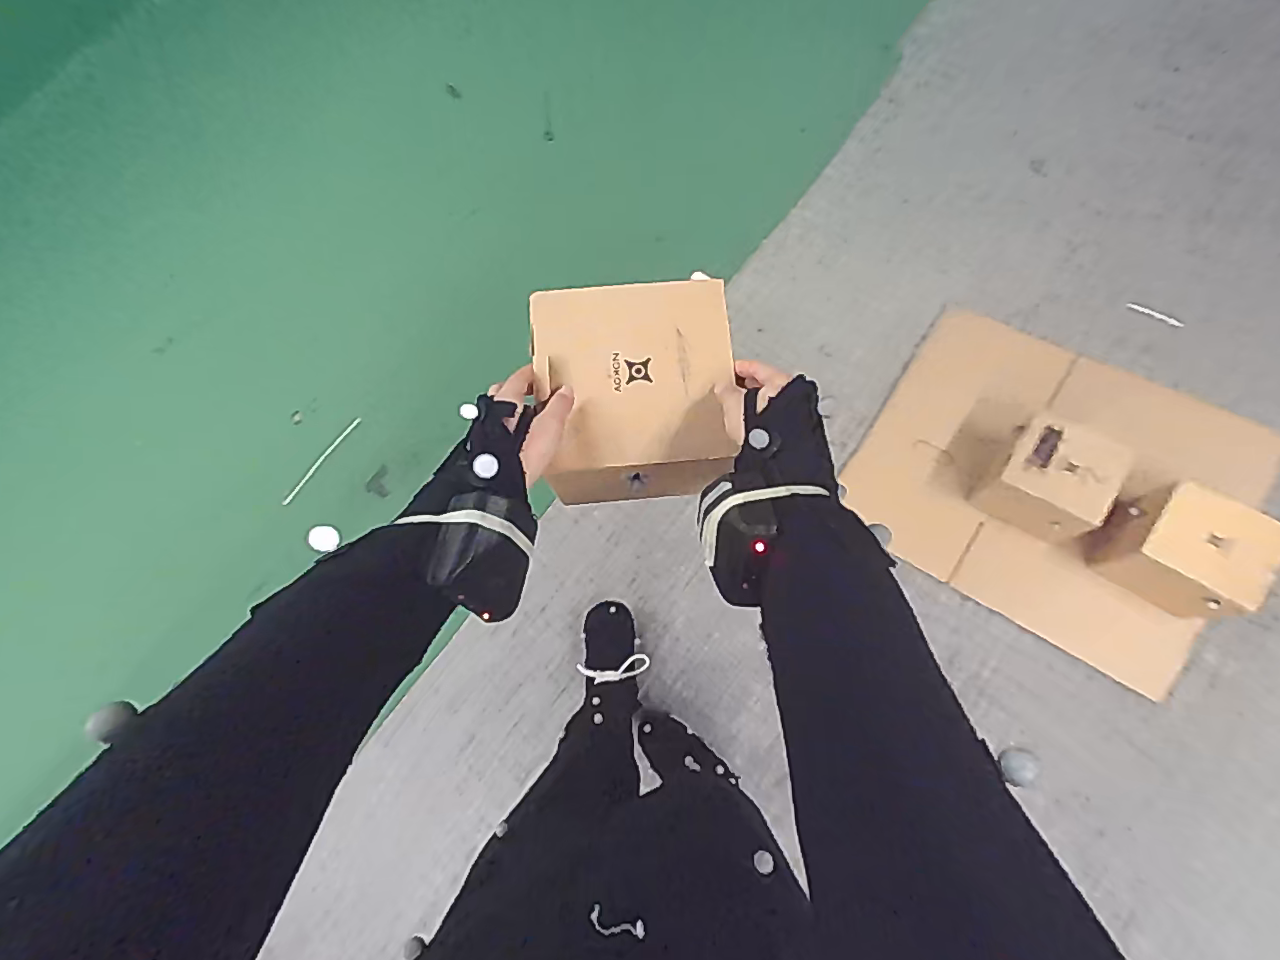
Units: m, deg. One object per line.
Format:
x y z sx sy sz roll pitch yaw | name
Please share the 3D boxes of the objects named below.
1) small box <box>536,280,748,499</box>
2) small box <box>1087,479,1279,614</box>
-0.001 -0.077 0.542 0.179 0.176 0.168 -4 79 -2 | small box
0.980 0.129 0.985 0.179 0.176 0.168 34 81 19 | small box
